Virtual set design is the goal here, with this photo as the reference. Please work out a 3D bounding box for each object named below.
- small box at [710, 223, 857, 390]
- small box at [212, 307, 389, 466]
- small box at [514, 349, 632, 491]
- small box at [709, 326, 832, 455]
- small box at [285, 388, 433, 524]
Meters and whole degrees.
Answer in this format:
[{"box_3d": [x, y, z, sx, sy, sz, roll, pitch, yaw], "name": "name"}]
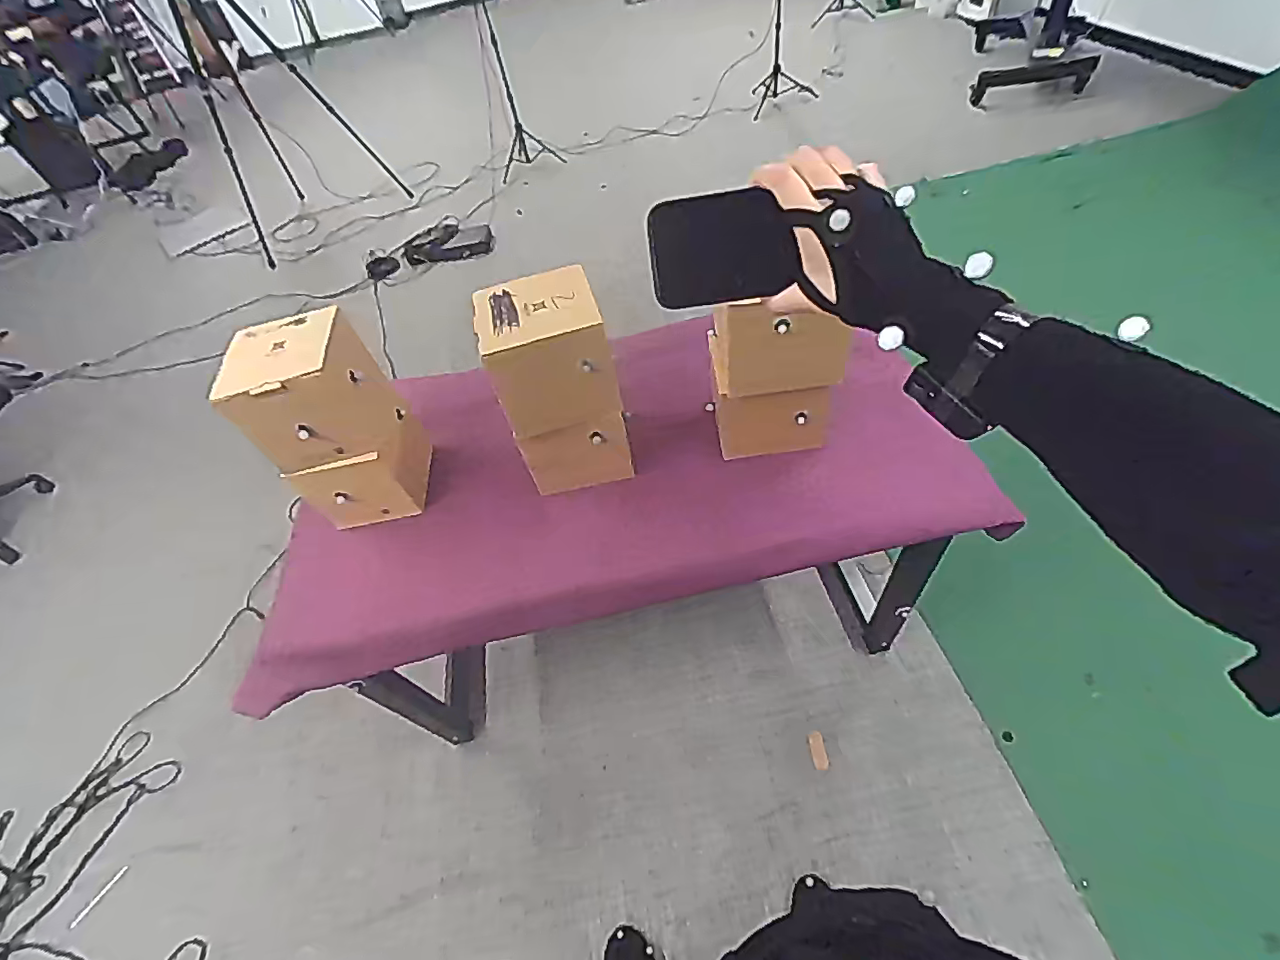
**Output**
[{"box_3d": [0.205, -0.254, 0.812, 0.179, 0.176, 0.168, -7, 51, 5], "name": "small box"}, {"box_3d": [-0.526, -0.142, 0.869, 0.168, 0.176, 0.179, -15, 51, -2], "name": "small box"}, {"box_3d": [-0.115, -0.103, 0.966, 0.179, 0.176, 0.168, -12, 51, 2], "name": "small box"}, {"box_3d": [0.220, -0.163, 0.949, 0.179, 0.176, 0.168, -8, 51, 6], "name": "small box"}, {"box_3d": [-0.499, -0.035, 0.992, 0.168, 0.176, 0.179, -12, 51, 2], "name": "small box"}]
